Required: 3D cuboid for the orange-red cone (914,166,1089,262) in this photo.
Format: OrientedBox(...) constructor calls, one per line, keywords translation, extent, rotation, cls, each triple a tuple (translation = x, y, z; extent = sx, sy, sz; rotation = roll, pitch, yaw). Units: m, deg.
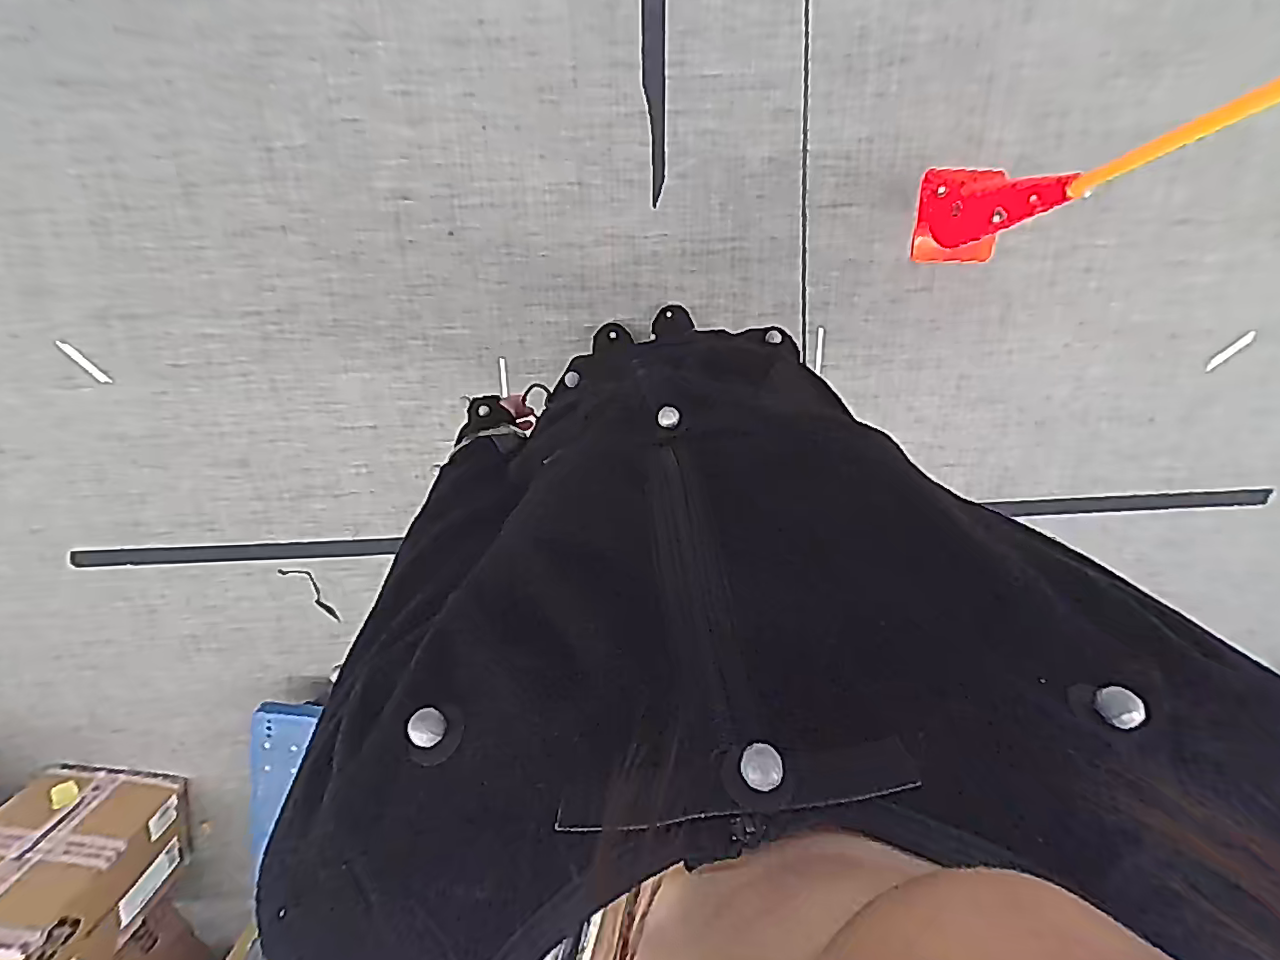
OrientedBox(translation=(0.756, -0.565, 1.102), extent=(0.198, 0.360, 0.199), rotation=(1, 109, -2), cls="orange-red cone")
